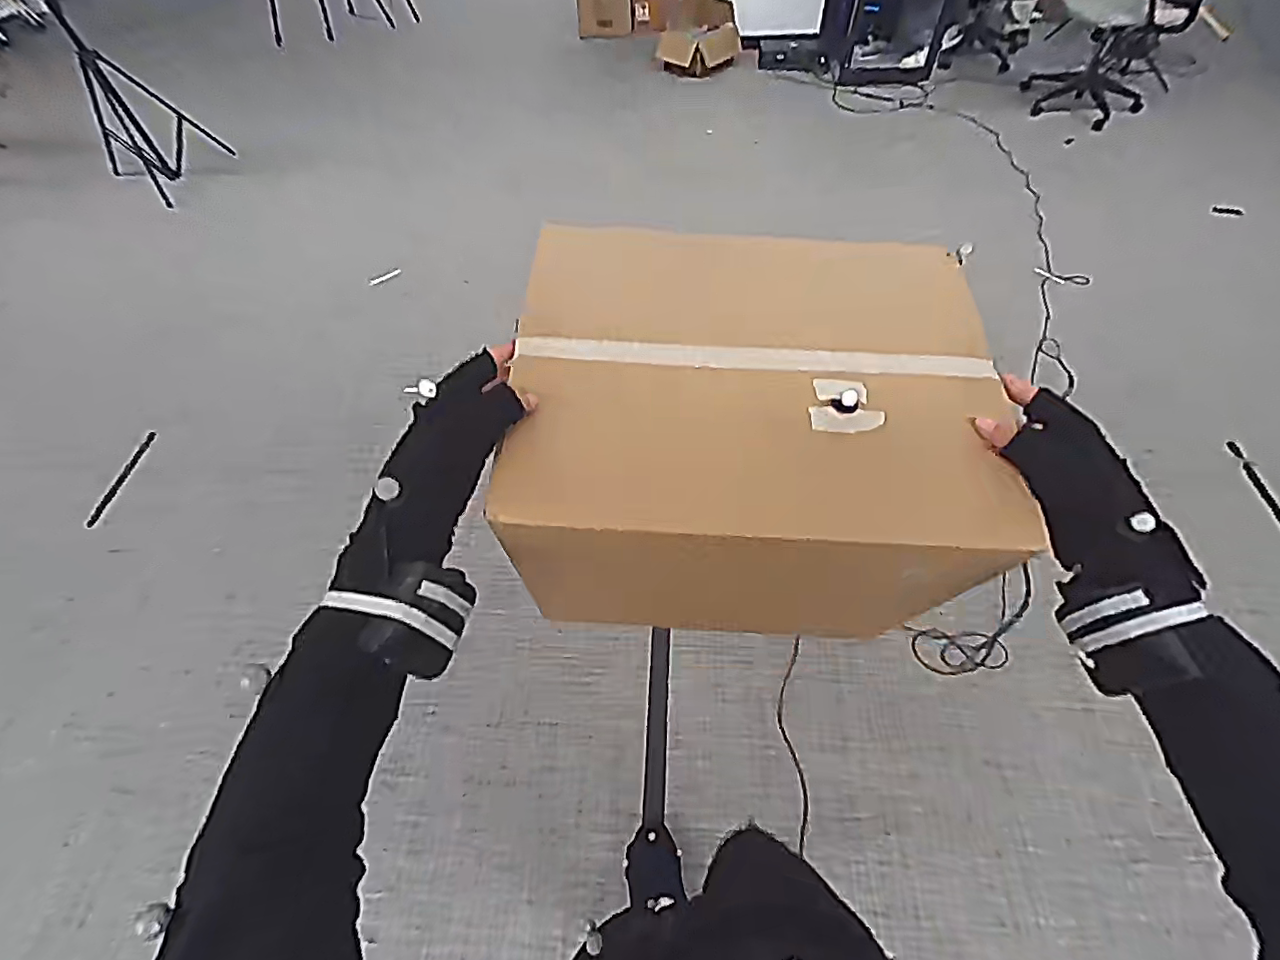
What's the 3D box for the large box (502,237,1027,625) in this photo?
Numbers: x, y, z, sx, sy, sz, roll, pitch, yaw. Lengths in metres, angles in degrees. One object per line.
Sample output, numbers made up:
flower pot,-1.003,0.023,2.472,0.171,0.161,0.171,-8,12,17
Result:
large box,0.092,-0.030,0.600,0.408,0.320,0.320,3,63,-1
